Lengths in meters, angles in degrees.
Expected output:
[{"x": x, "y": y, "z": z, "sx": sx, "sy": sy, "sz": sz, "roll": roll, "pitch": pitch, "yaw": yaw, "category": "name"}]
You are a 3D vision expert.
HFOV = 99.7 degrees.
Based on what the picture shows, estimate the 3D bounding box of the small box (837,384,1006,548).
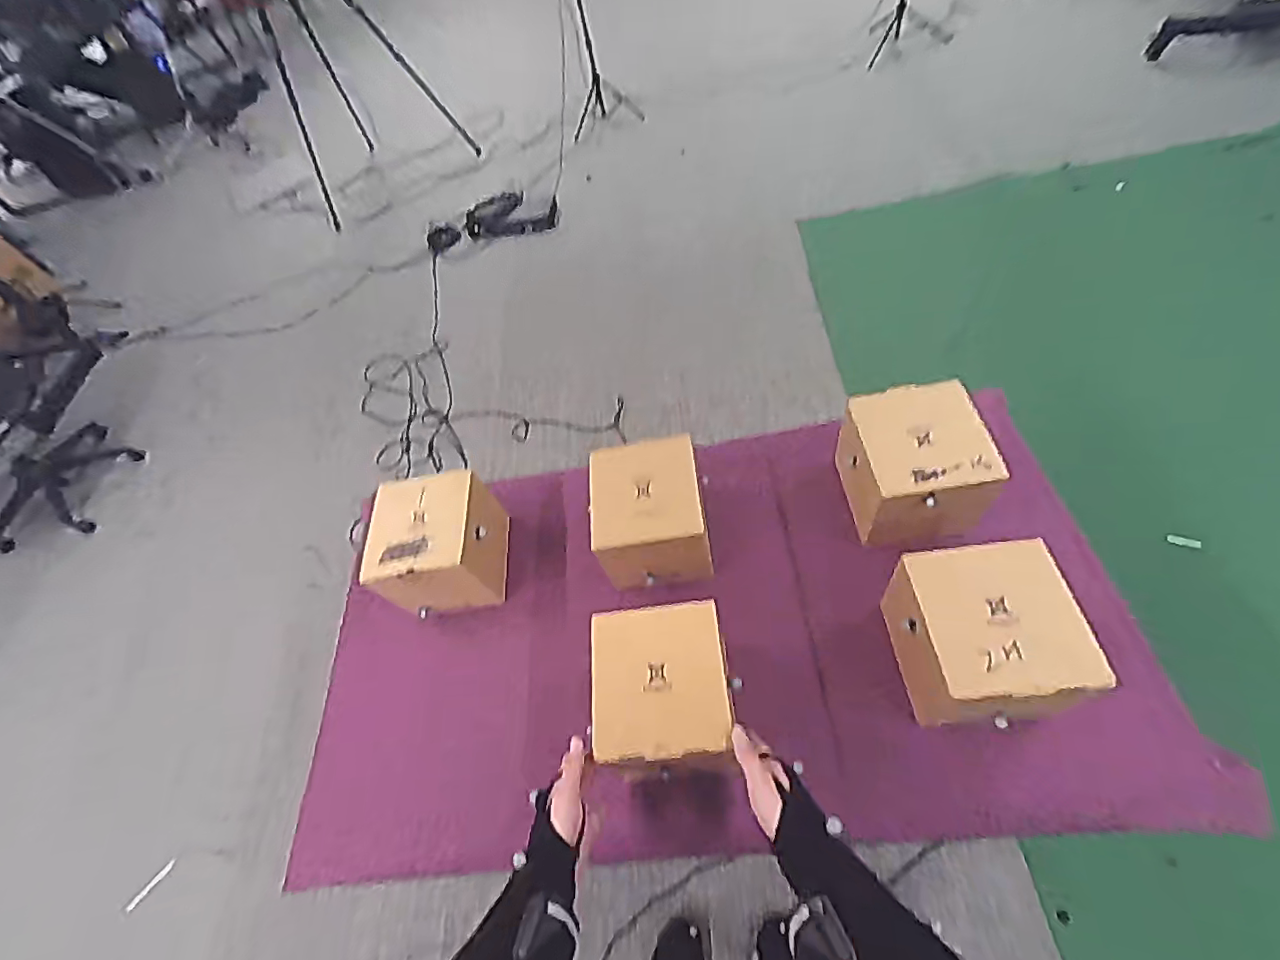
[{"x": 0.412, "y": -0.016, "z": 0.832, "sx": 0.168, "sy": 0.176, "sz": 0.179, "roll": -10, "pitch": 56, "yaw": 7, "category": "small box"}]

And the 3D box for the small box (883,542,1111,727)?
[{"x": 0.424, "y": 0.200, "z": 0.685, "sx": 0.168, "sy": 0.176, "sz": 0.179, "roll": -8, "pitch": 55, "yaw": 9, "category": "small box"}]

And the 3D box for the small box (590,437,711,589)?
[{"x": 0.019, "y": 0.058, "z": 0.875, "sx": 0.168, "sy": 0.176, "sz": 0.179, "roll": -9, "pitch": 57, "yaw": 8, "category": "small box"}]

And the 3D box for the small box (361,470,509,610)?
[{"x": -0.333, "y": 0.110, "z": 0.917, "sx": 0.168, "sy": 0.176, "sz": 0.179, "roll": -9, "pitch": 56, "yaw": 6, "category": "small box"}]
